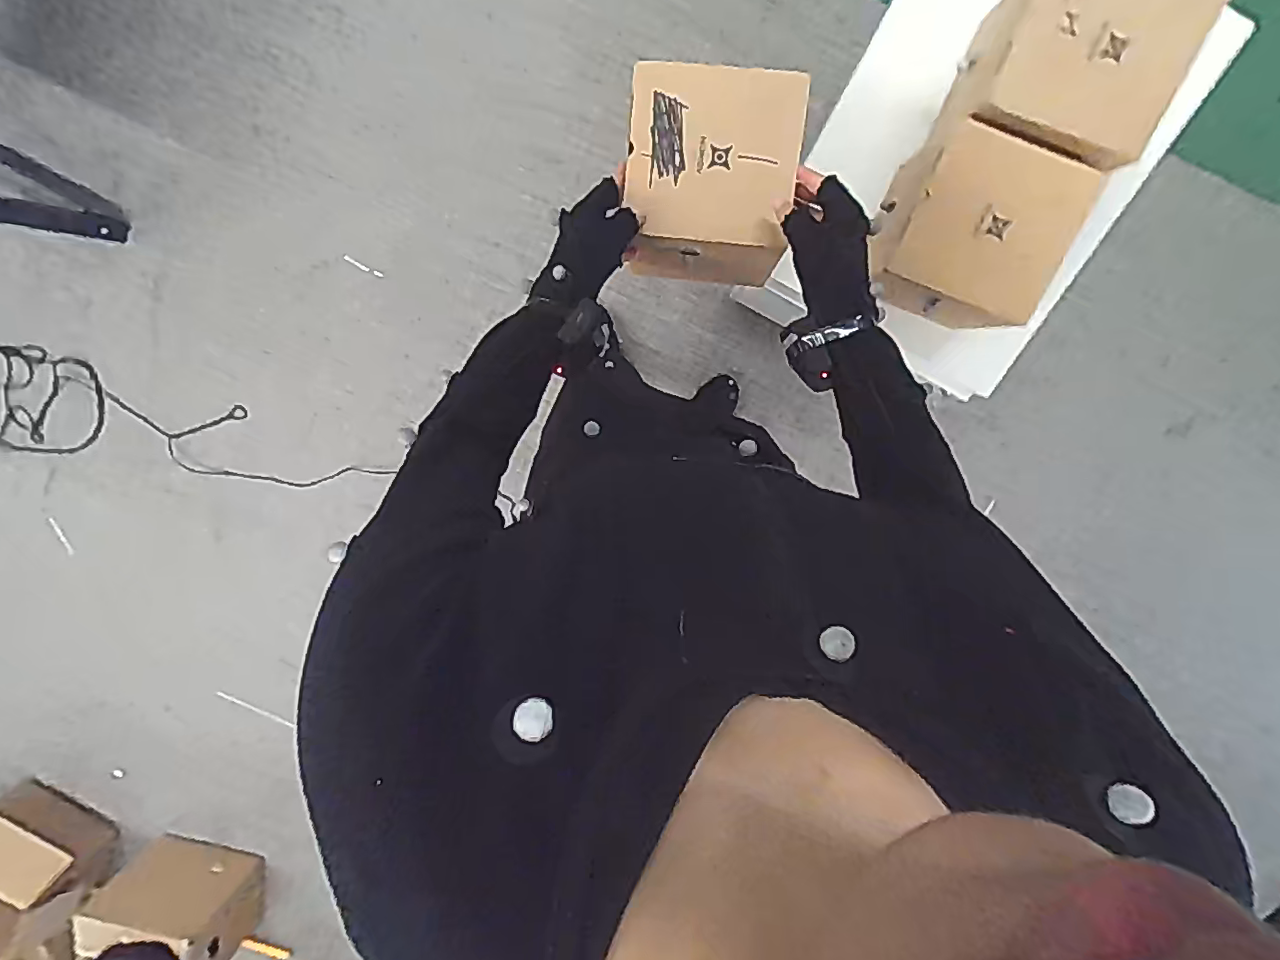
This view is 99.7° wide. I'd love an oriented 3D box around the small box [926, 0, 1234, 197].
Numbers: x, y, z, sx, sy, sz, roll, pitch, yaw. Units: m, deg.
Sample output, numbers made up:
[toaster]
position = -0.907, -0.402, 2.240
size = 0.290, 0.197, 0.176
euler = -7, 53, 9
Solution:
[small box]
position = 0.472, -0.447, 0.614
size = 0.179, 0.176, 0.168
euler = 21, 105, 1
